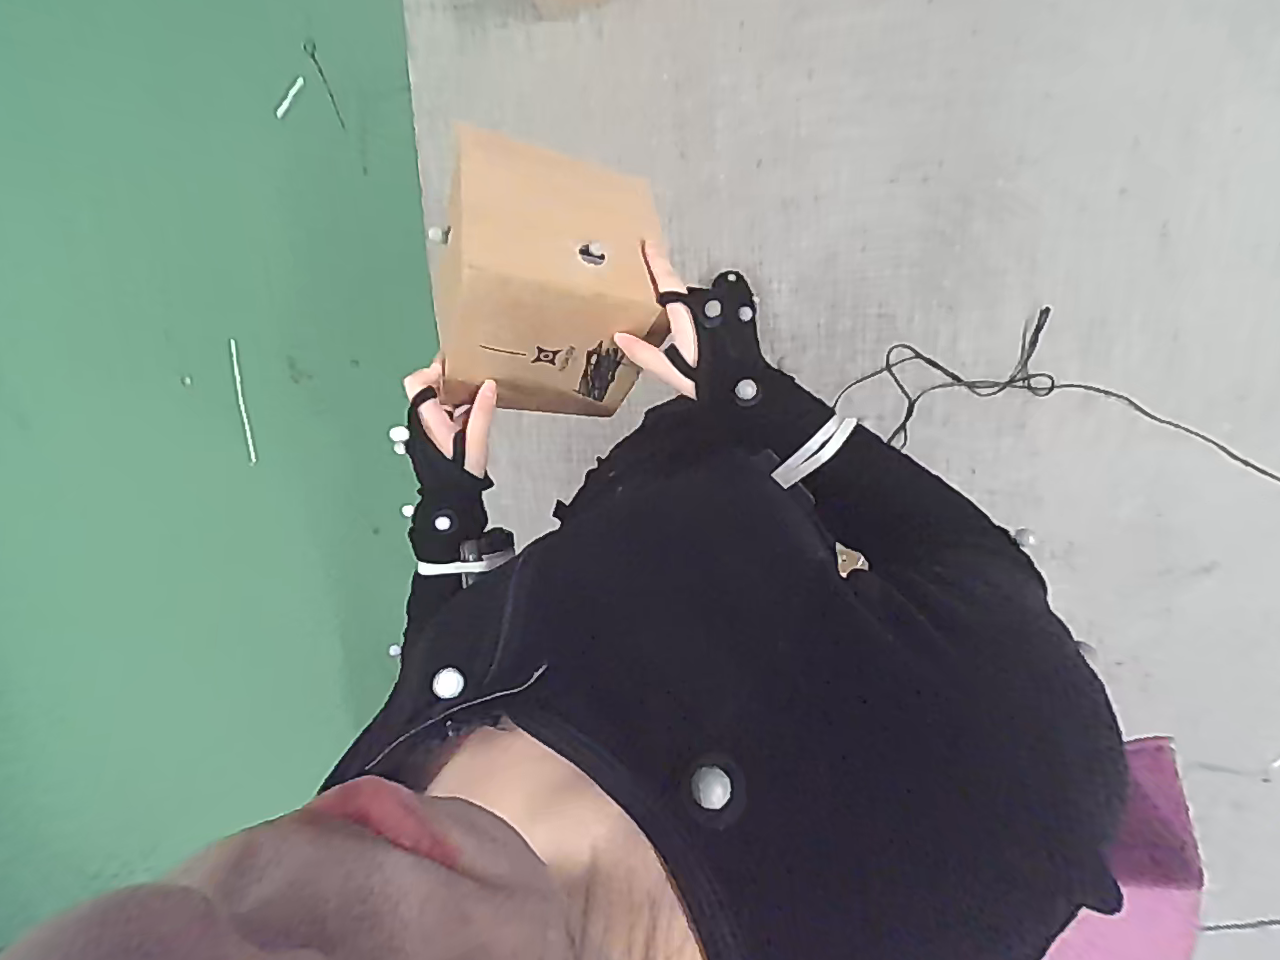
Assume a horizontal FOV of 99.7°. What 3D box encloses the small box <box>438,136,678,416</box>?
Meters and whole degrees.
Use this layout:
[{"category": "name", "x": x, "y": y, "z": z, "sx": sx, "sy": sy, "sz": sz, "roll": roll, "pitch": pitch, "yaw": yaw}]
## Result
[{"category": "small box", "x": -0.089, "y": -0.182, "z": 0.512, "sx": 0.179, "sy": 0.168, "sz": 0.176, "roll": 4, "pitch": 61, "yaw": -26}]
